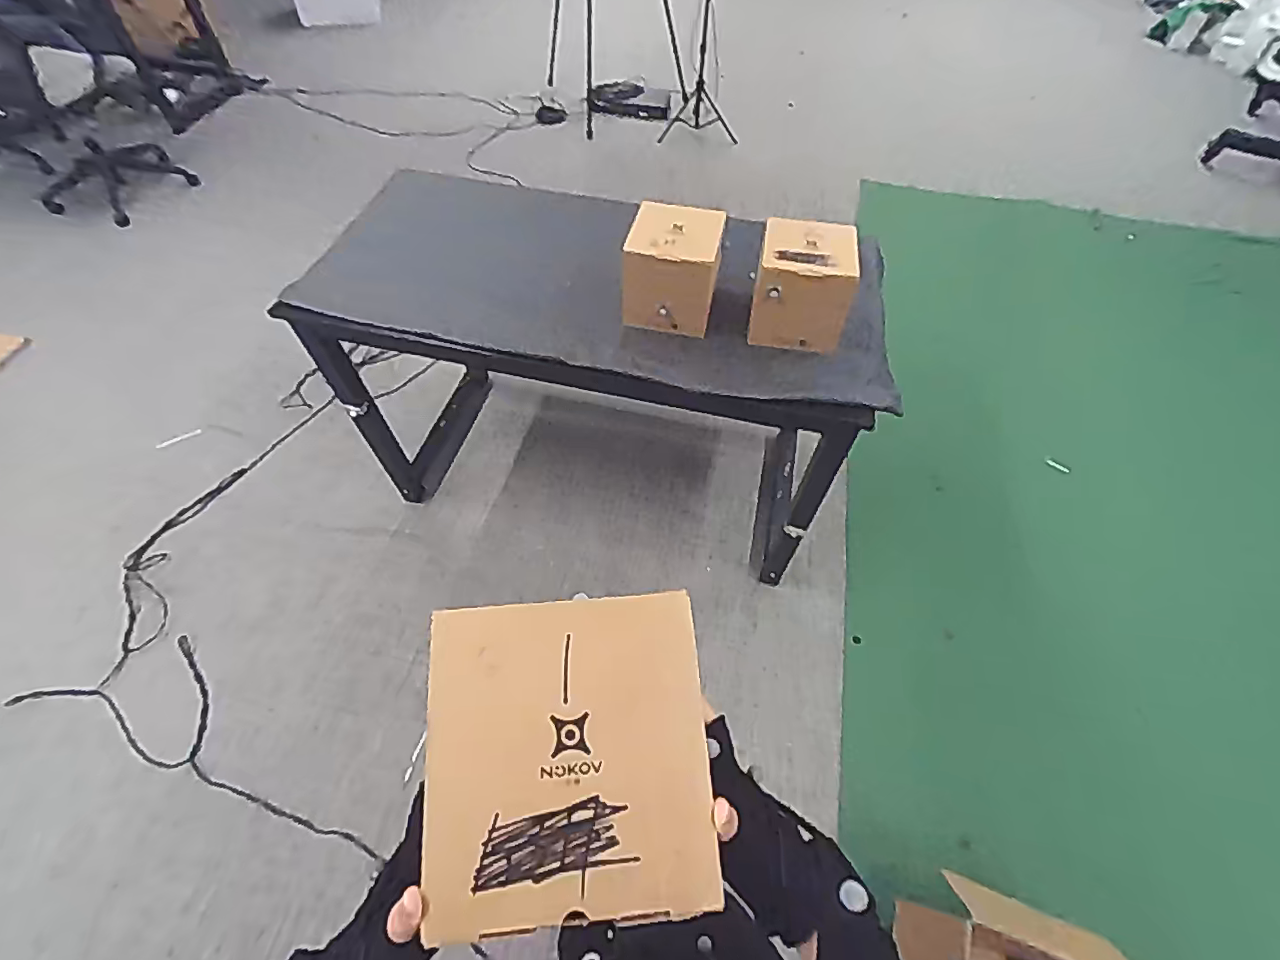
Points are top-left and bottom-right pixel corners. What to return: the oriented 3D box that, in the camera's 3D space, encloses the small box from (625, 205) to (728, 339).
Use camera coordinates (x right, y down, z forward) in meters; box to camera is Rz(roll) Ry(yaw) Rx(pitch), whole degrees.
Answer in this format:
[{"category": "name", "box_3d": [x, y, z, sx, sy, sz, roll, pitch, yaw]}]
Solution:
[{"category": "small box", "box_3d": [0.069, -0.407, 1.061, 0.168, 0.176, 0.179, 11, 55, 7]}]
